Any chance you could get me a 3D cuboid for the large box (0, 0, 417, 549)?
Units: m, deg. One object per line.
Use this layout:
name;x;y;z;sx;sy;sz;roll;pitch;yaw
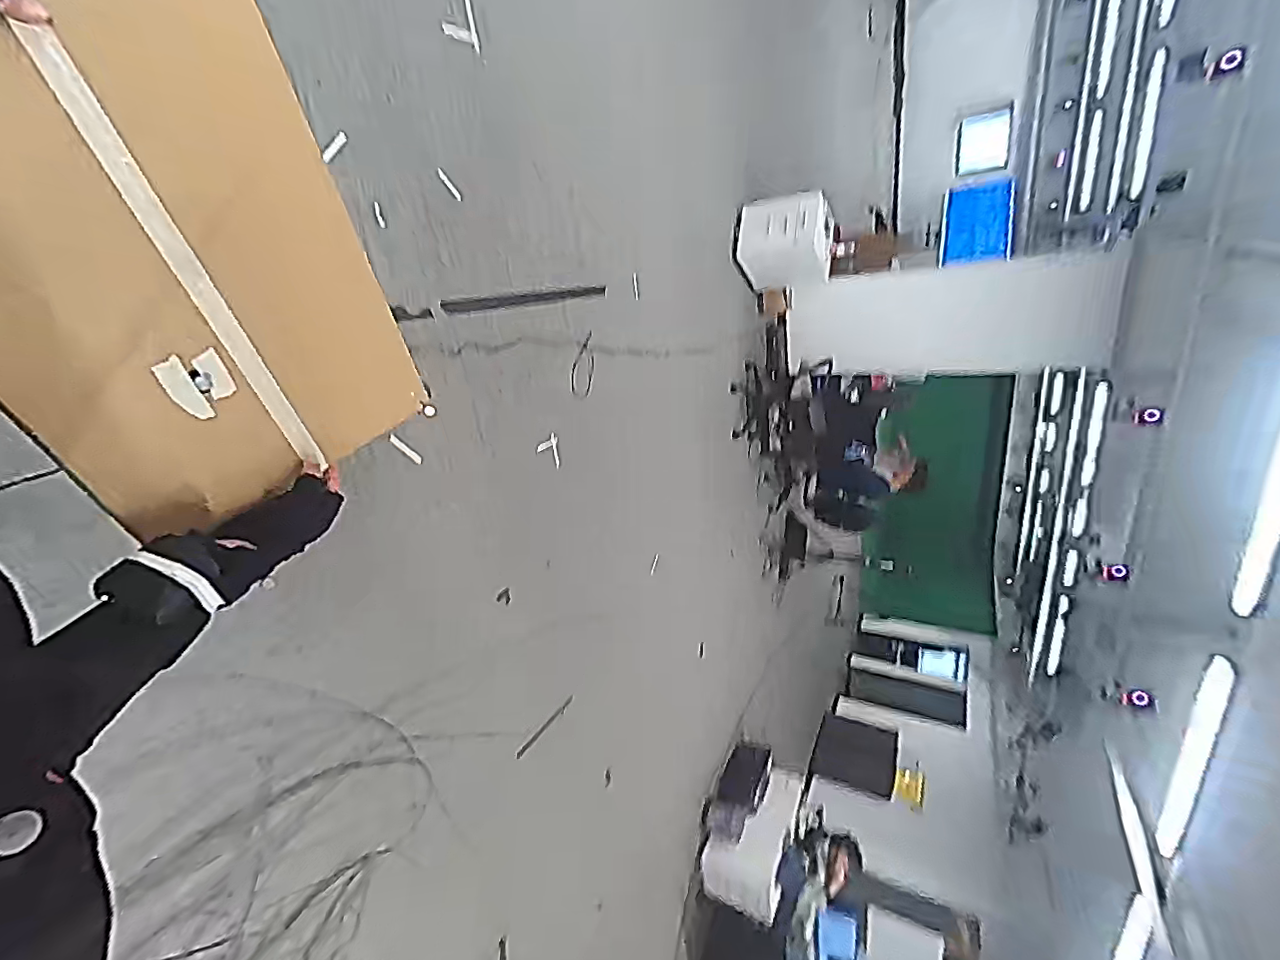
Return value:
large box;-0.520;-0.210;0.555;0.320;0.320;0.408;-45;140;-36
